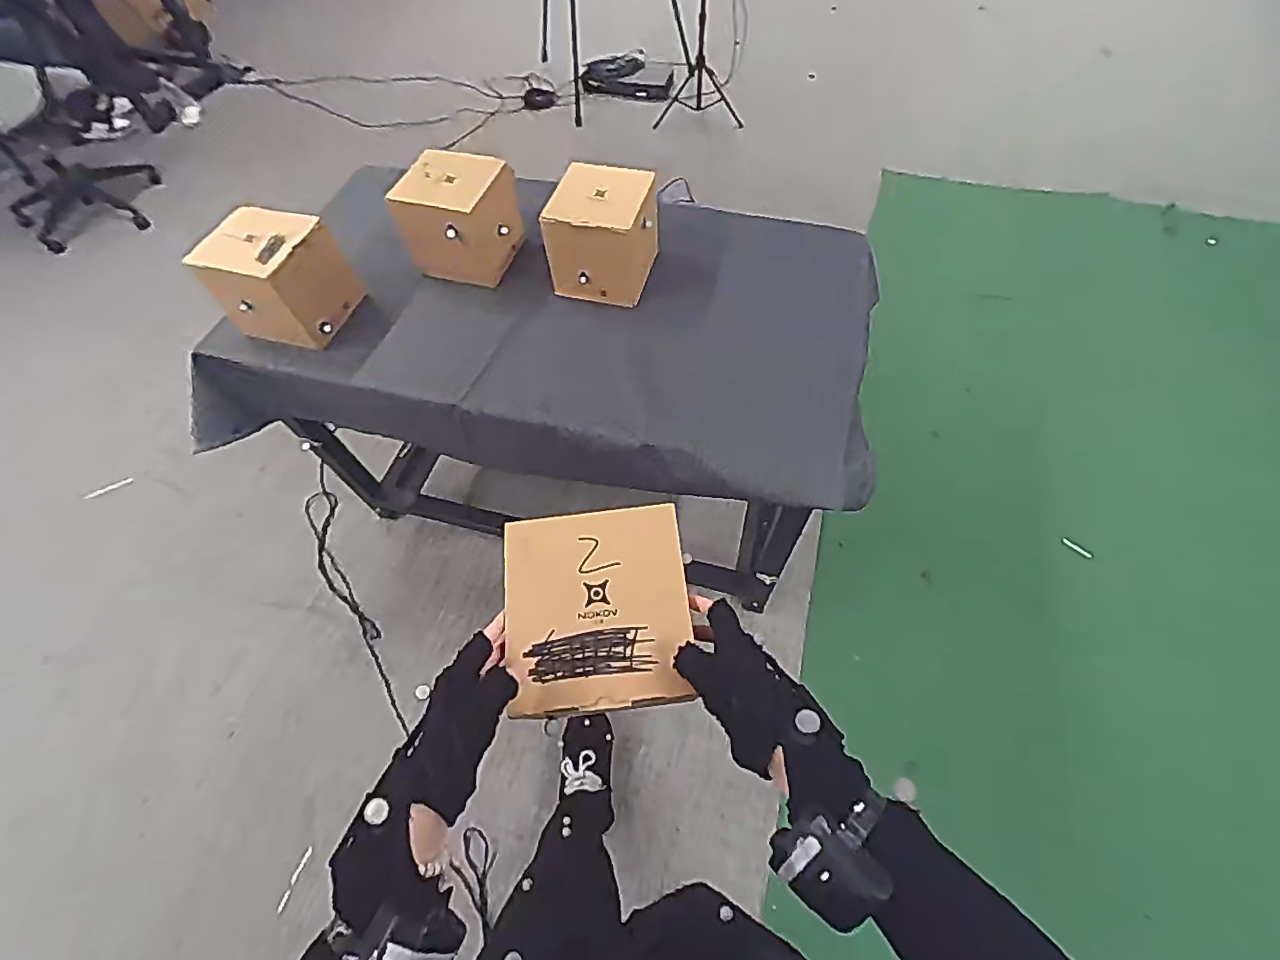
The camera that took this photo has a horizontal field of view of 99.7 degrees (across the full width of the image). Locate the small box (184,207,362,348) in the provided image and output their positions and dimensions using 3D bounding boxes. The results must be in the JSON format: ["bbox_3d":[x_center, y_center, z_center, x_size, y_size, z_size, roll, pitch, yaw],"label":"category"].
[{"bbox_3d":[-0.657,-0.367,0.995,0.179,0.176,0.168,12,60,10],"label":"small box"}]

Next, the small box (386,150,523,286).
[{"bbox_3d":[-0.350,-0.510,1.065,0.179,0.176,0.168,14,62,10],"label":"small box"}]

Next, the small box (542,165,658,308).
[{"bbox_3d":[-0.068,-0.459,1.027,0.168,0.176,0.179,13,62,10],"label":"small box"}]
